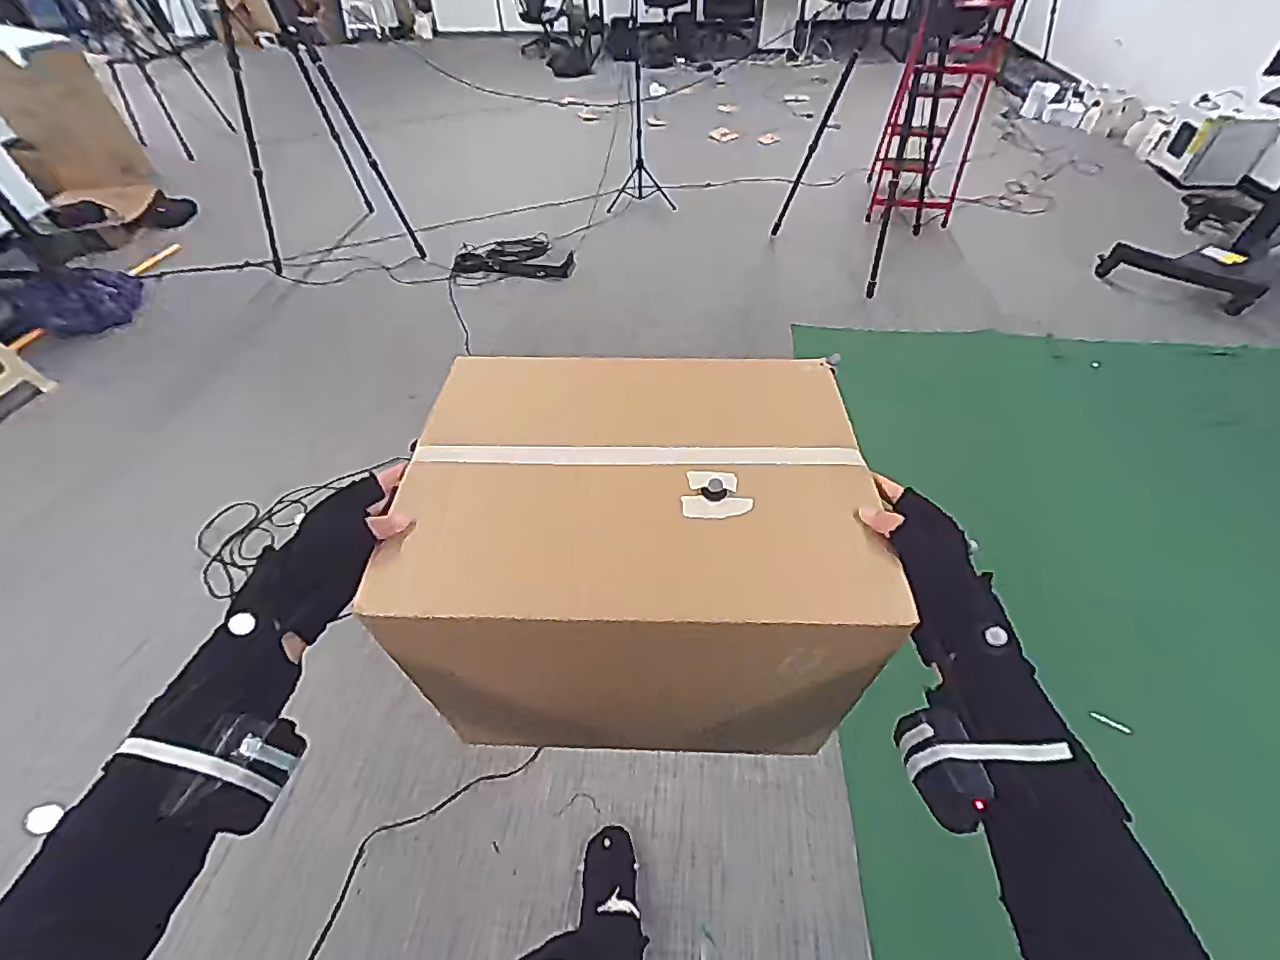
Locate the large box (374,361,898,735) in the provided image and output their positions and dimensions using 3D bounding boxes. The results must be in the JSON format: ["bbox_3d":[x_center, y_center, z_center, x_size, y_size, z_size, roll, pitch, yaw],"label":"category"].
[{"bbox_3d":[-0.003,0.081,0.611,0.408,0.320,0.320,1,49,1],"label":"large box"}]
